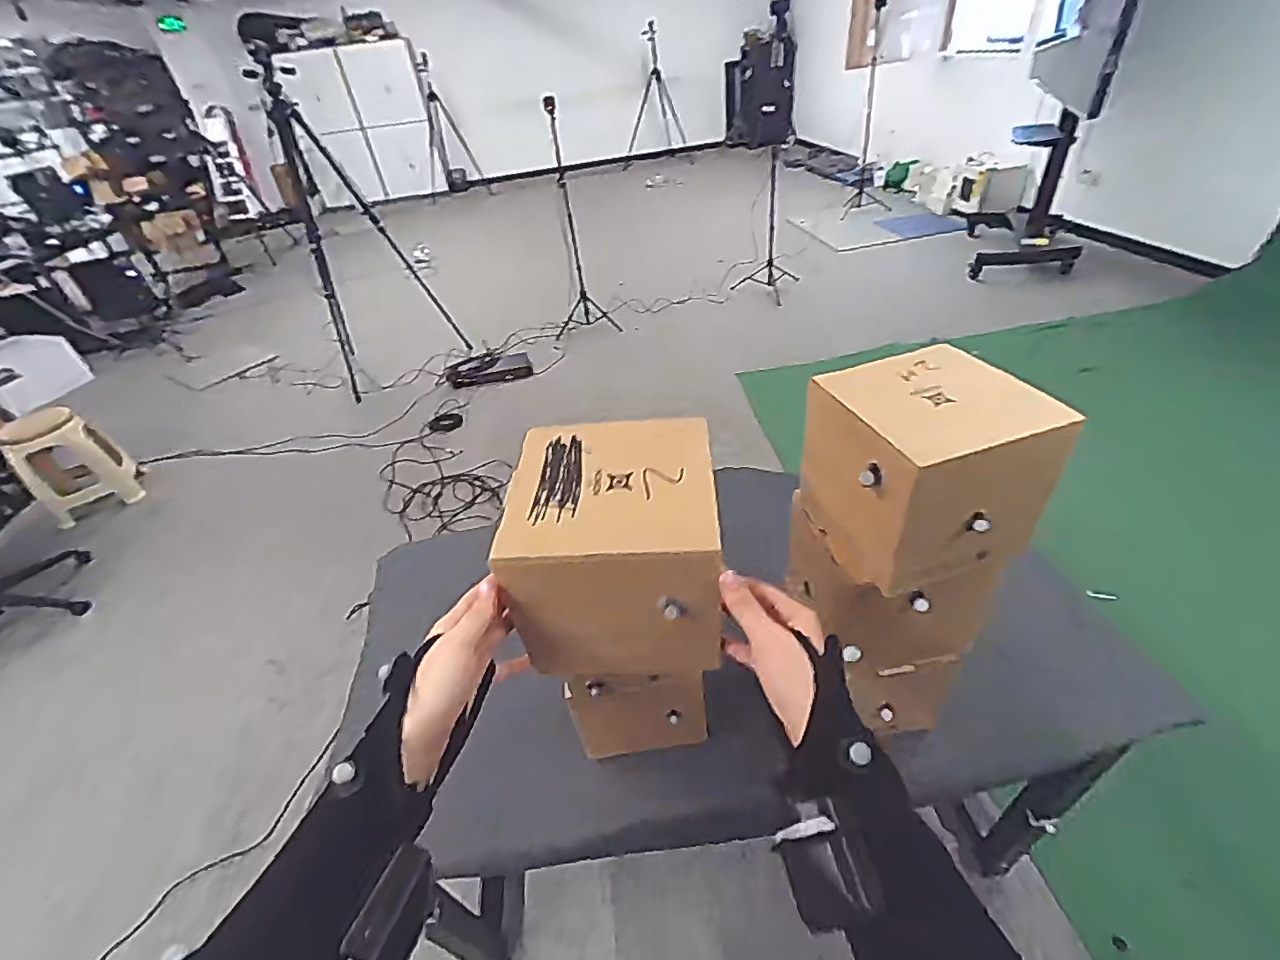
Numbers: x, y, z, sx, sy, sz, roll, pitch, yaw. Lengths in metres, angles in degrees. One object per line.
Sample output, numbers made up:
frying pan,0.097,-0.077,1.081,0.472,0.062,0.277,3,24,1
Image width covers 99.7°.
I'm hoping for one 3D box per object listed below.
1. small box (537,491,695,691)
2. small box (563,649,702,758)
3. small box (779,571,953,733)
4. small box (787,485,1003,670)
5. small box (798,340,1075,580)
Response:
small box,-0.031,0.144,0.685,0.168,0.176,0.179,-11,36,-4
small box,-0.010,0.273,0.784,0.179,0.176,0.168,-11,37,-1
small box,0.303,0.235,0.766,0.168,0.176,0.179,-10,38,0
small box,0.292,0.106,0.667,0.179,0.176,0.168,-11,38,-1
small box,0.280,-0.019,0.559,0.168,0.176,0.179,-16,38,-8
